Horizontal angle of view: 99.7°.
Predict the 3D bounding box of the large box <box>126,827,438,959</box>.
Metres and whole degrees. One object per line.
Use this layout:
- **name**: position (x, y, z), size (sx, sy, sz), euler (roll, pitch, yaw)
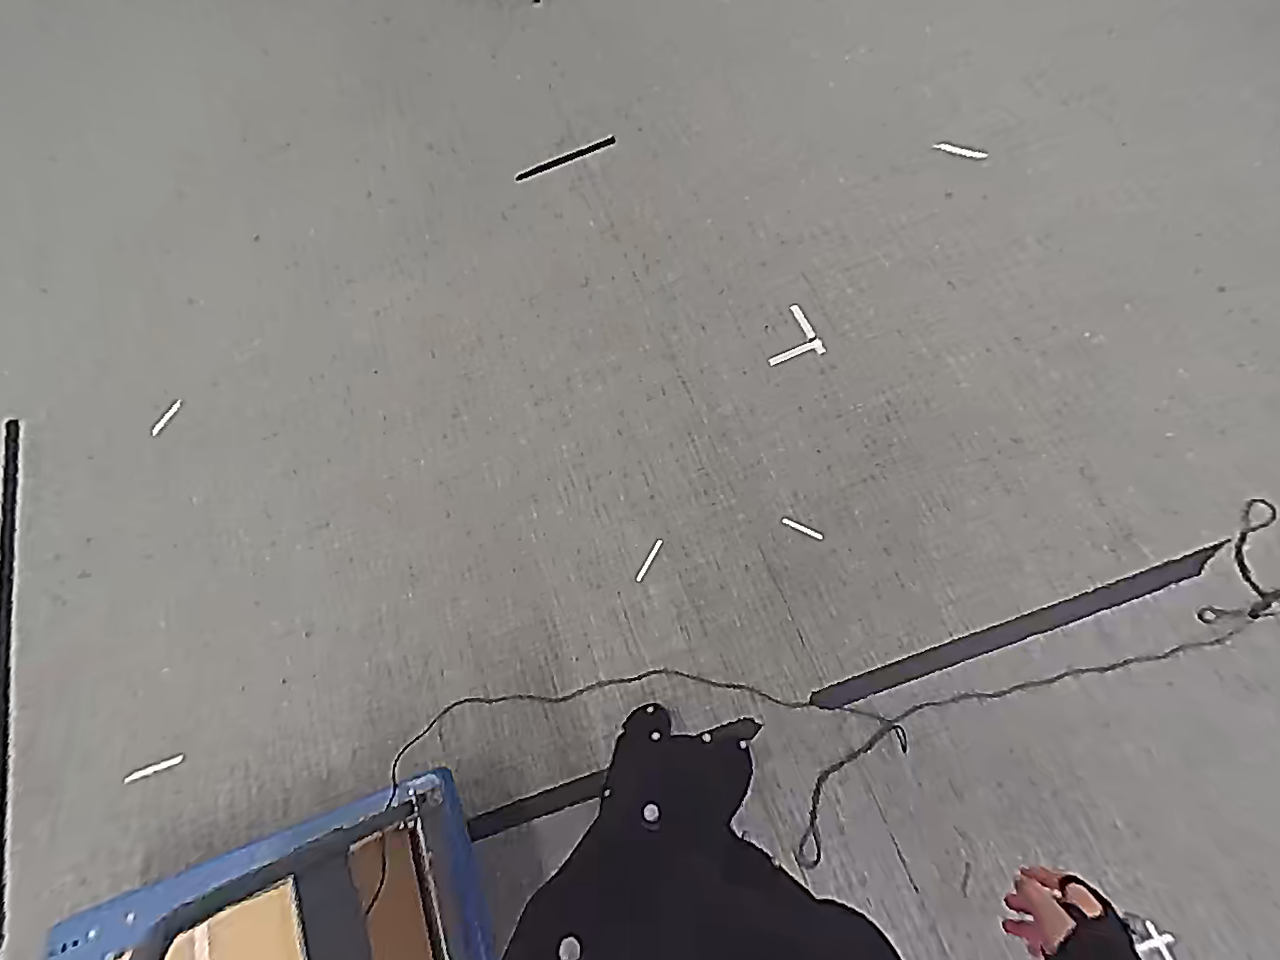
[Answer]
- **large box**: position (-0.553, 0.887, 0.898), size (0.320, 0.320, 0.408), euler (-23, 69, -2)
